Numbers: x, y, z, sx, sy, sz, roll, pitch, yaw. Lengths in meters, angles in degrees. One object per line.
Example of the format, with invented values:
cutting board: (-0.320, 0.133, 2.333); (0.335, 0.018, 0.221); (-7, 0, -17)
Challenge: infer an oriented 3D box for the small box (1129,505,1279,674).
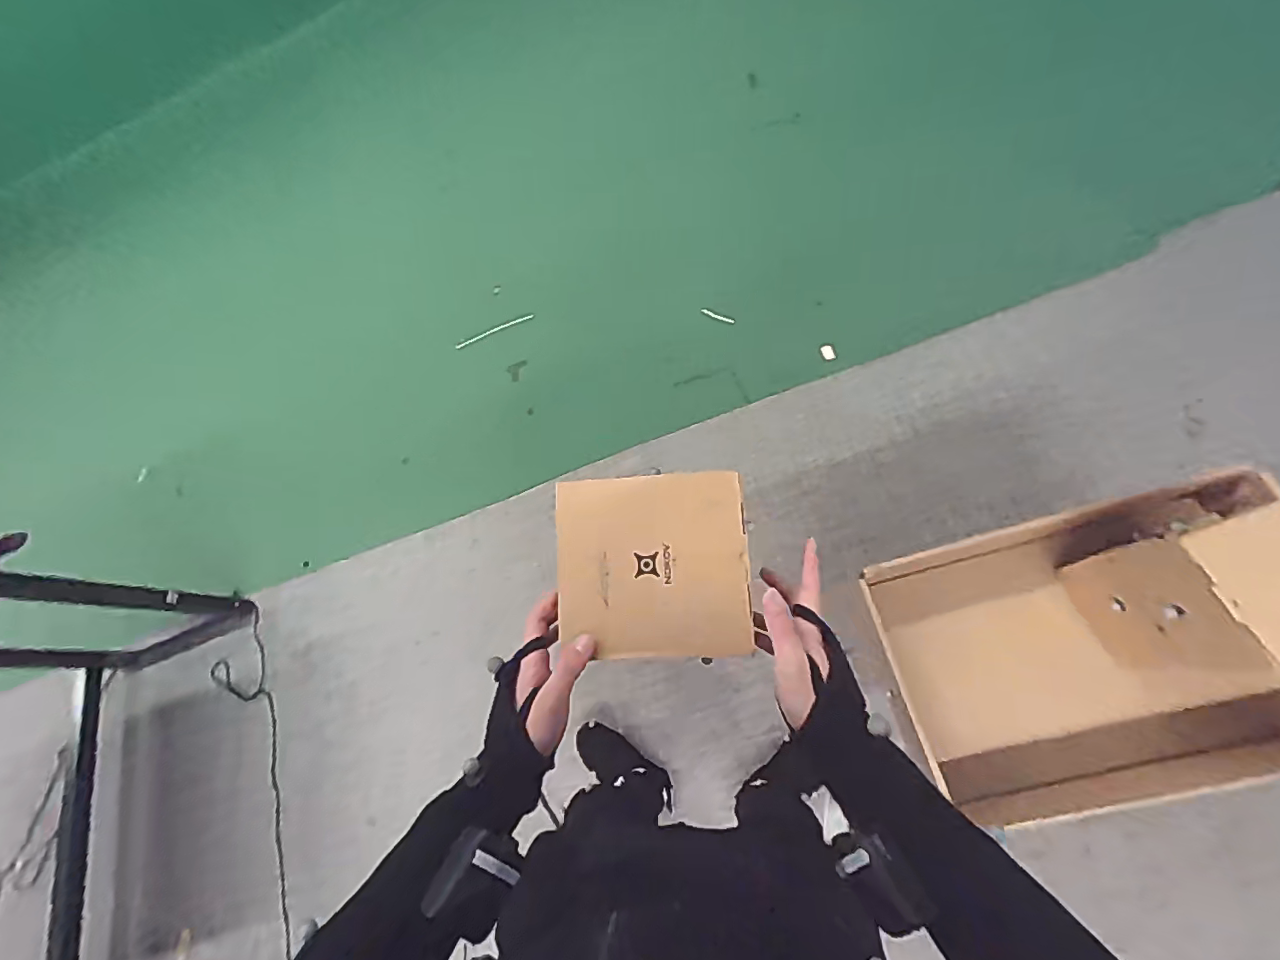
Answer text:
small box: (0.767, 0.135, 0.669); (0.179, 0.176, 0.168); (-24, 67, 8)
